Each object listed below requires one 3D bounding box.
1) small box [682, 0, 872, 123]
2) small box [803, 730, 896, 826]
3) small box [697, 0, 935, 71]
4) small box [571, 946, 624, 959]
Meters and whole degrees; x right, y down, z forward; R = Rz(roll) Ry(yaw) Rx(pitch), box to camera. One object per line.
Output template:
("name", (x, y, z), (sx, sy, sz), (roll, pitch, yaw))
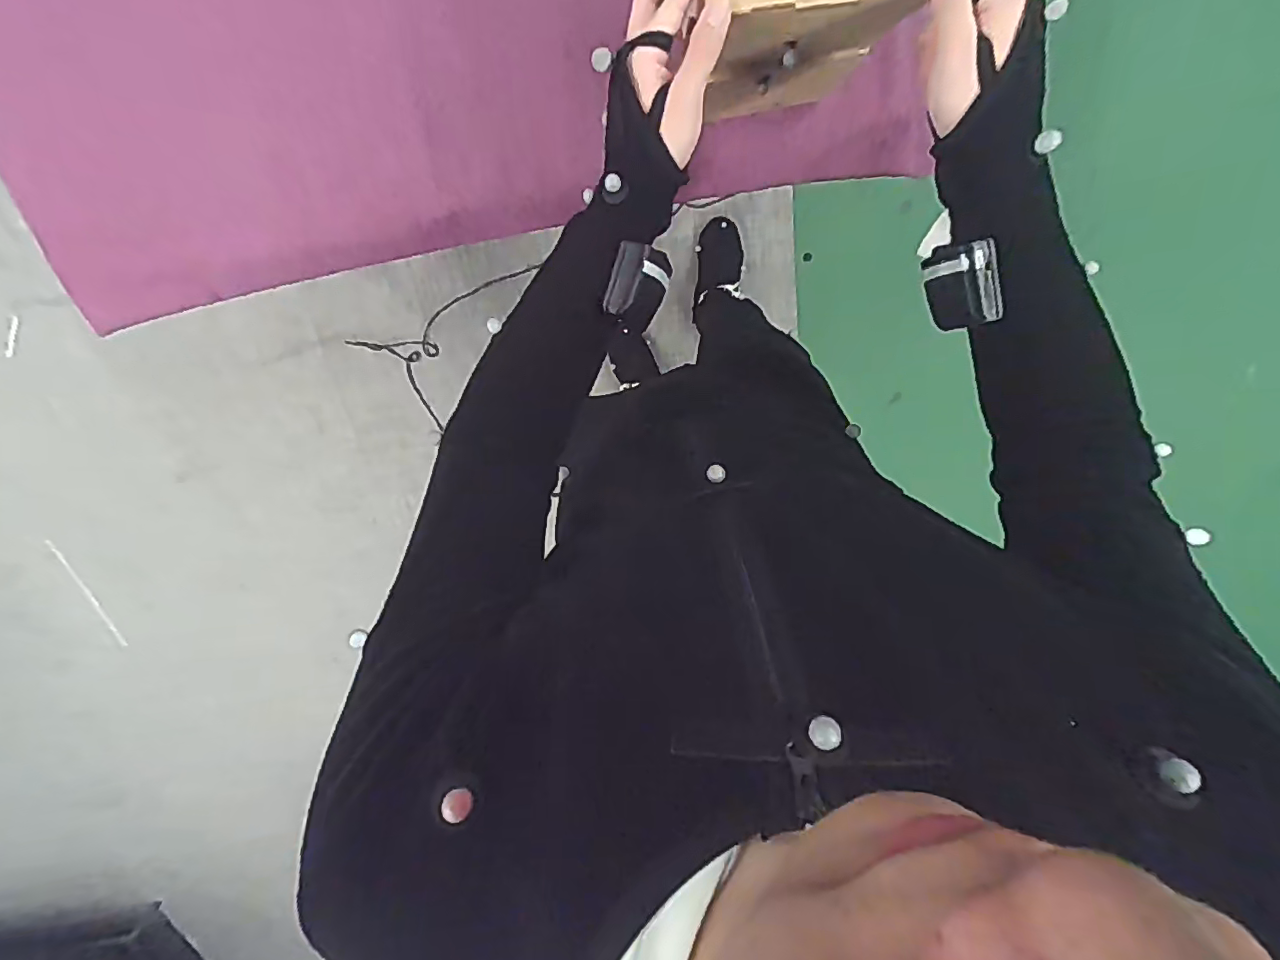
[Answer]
("small box", (0.133, -0.508, 0.569), (0.168, 0.176, 0.179), (-7, 111, 5))
("small box", (0.622, 0.892, 1.633), (0.179, 0.176, 0.168), (28, 112, -11))
("small box", (0.127, -0.440, 0.404), (0.168, 0.176, 0.179), (-3, 116, 4))
("small box", (-0.133, 1.580, 1.661), (0.168, 0.176, 0.179), (-2, 113, 0))
